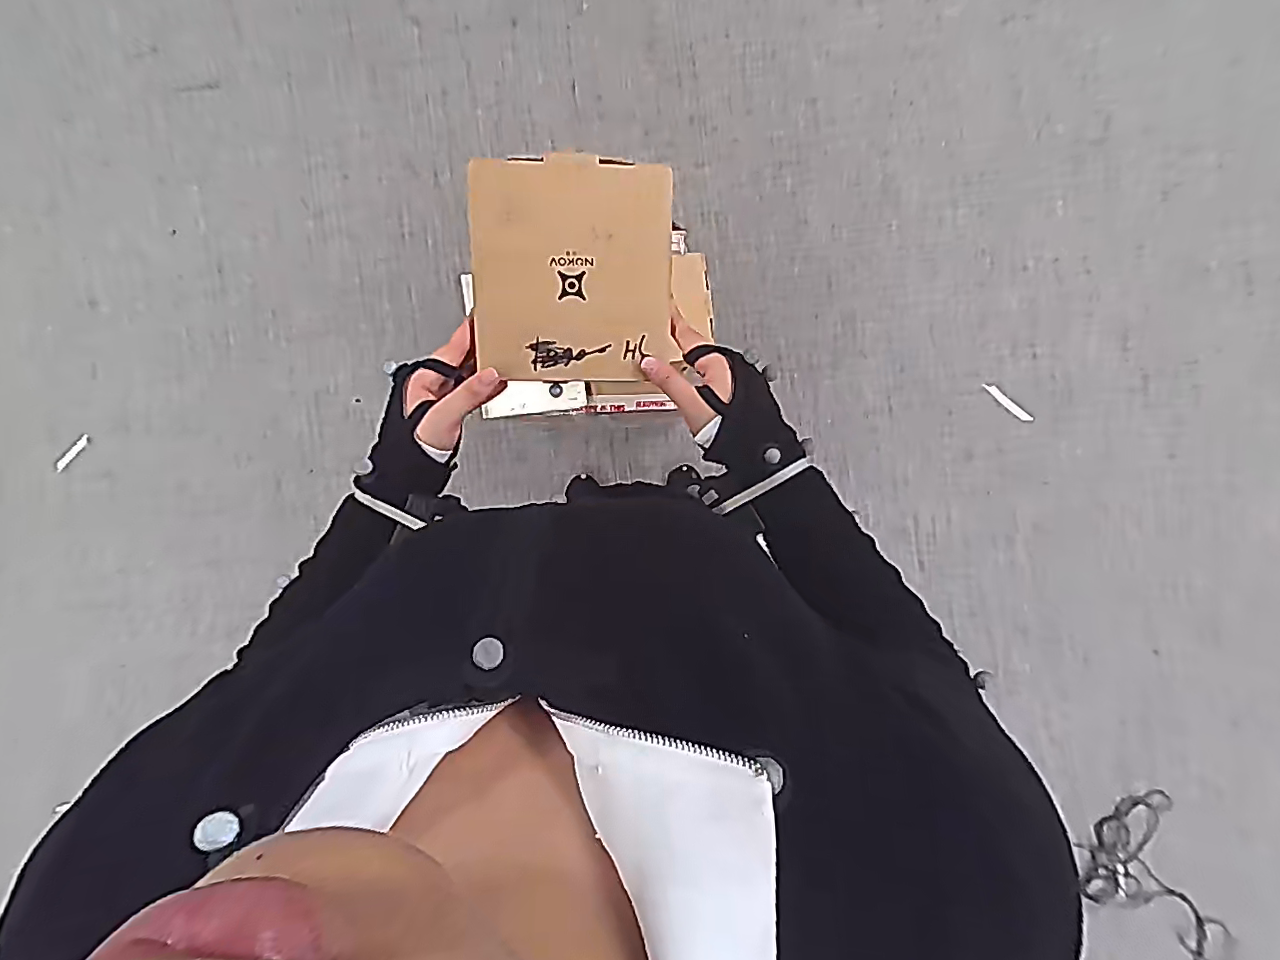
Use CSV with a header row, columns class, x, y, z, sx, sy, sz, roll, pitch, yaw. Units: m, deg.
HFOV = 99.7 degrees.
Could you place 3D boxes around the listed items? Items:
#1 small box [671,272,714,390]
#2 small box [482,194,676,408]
class,x,y,z,sx,sy,sz,roll,pitch,yaw
small box,0.023,-0.245,0.941,0.179,0.176,0.168,-7,92,0
small box,-0.058,-0.166,0.546,0.168,0.176,0.179,0,102,-4
